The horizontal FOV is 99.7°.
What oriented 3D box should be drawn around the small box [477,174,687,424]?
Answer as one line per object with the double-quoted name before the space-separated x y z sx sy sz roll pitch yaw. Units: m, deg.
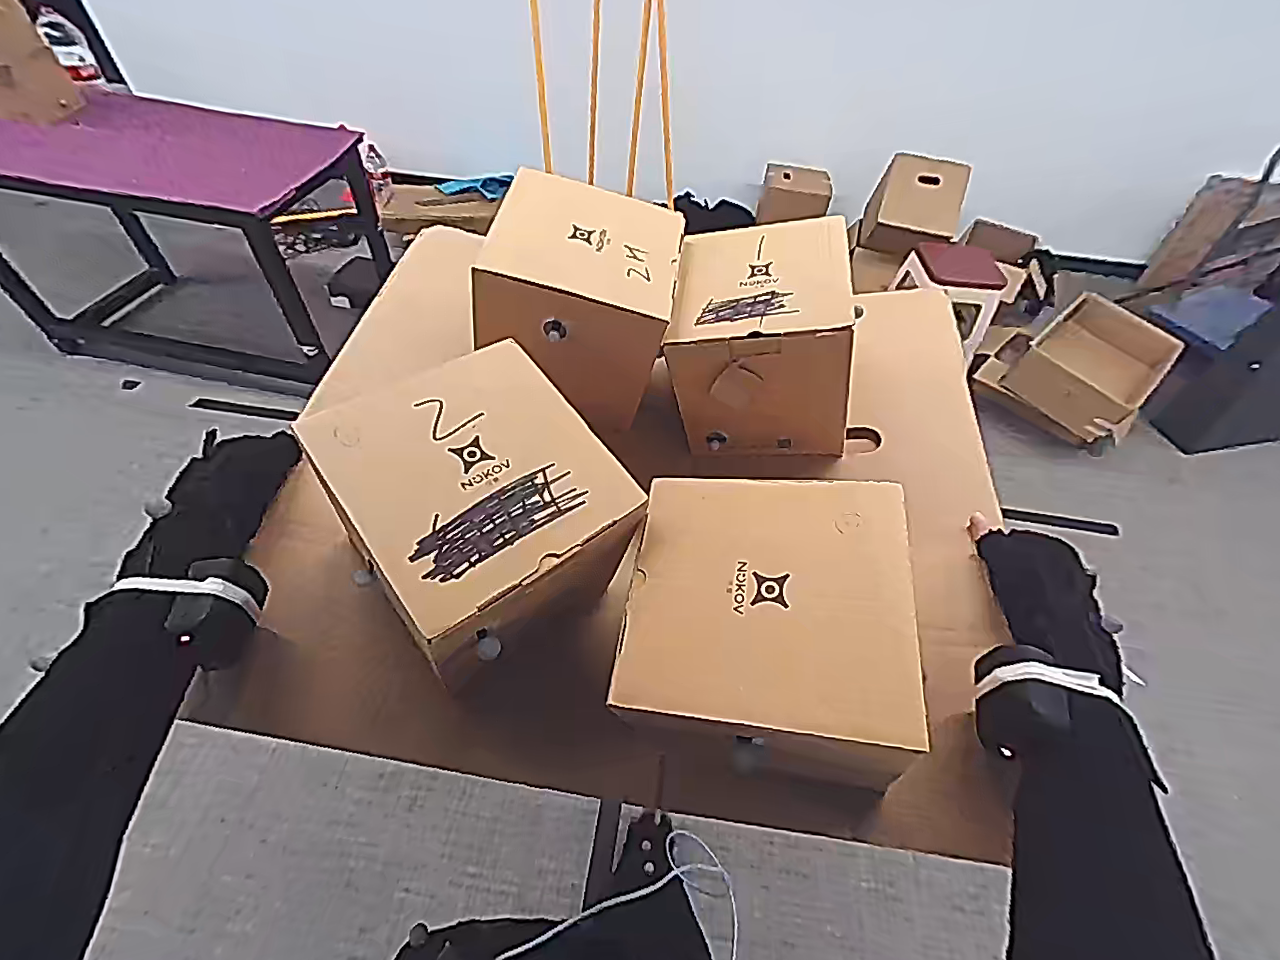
"small box" -0.064 -0.183 0.580 0.179 0.176 0.168 14 57 -7
